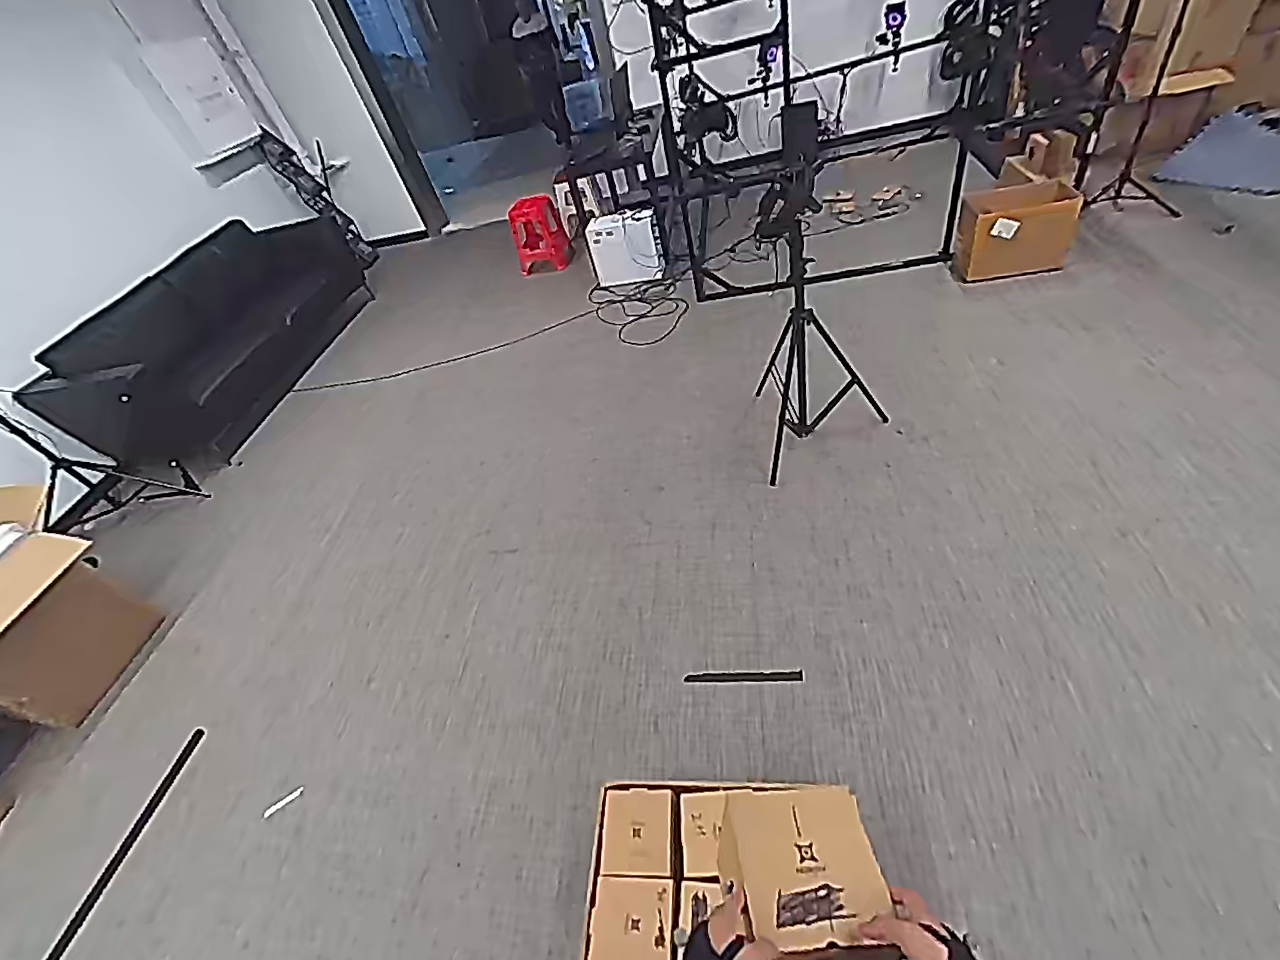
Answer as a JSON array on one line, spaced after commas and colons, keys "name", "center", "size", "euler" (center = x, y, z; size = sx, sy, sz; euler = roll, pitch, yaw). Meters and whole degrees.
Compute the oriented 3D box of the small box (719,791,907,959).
[{"name": "small box", "center": [0.196, 0.523, 0.668], "size": [0.168, 0.176, 0.179], "euler": [-2, 28, -3]}]
